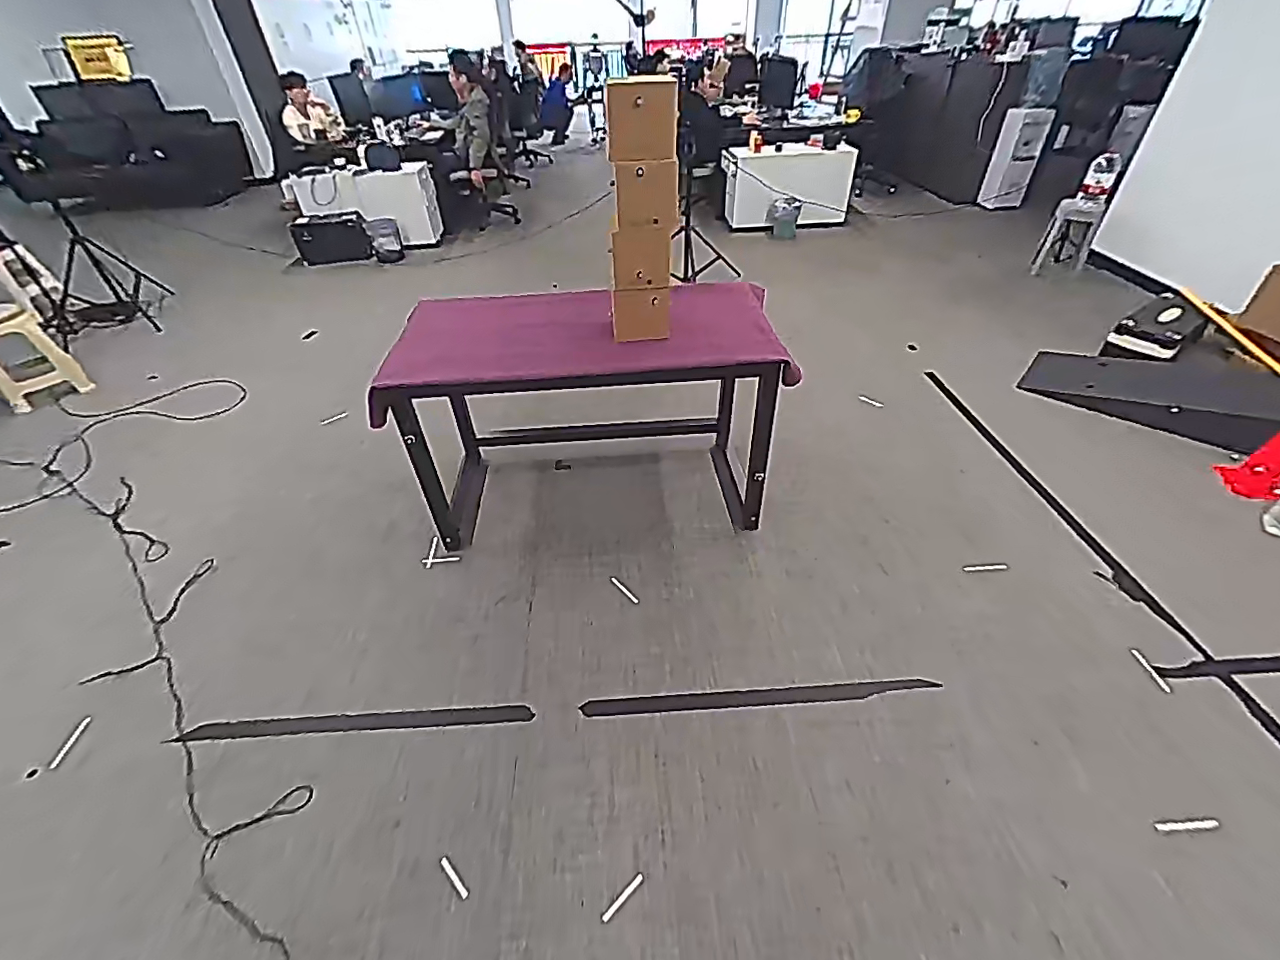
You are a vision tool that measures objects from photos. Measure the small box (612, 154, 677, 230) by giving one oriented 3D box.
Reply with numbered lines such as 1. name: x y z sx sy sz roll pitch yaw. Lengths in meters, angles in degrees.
1. small box: 0.009 -0.806 1.500 0.168 0.176 0.179 -5 40 -3

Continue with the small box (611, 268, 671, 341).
1. small box: 0.001 -0.555 1.711 0.179 0.176 0.168 -5 40 -2

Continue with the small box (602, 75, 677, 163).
1. small box: -0.004 -0.937 1.403 0.179 0.176 0.168 -6 41 -3
